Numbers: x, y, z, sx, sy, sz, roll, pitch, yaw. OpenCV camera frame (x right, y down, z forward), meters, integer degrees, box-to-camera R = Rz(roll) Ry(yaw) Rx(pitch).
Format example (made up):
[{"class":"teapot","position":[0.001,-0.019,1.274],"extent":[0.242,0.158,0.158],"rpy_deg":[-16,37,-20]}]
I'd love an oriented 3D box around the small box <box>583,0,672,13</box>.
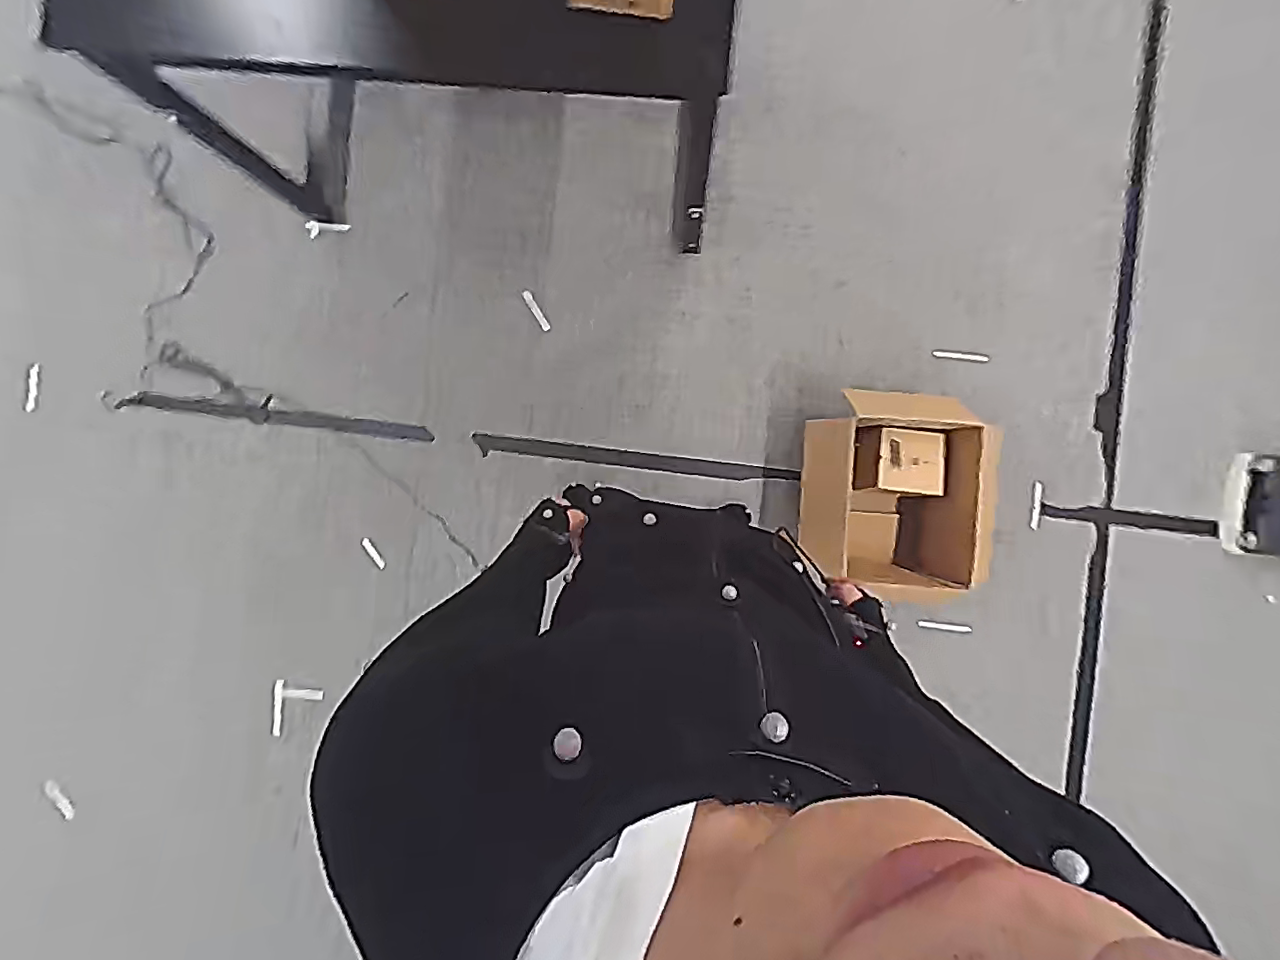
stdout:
[{"class":"small box","position":[-0.018,-0.858,0.802],"extent":[0.168,0.176,0.179],"rpy_deg":[11,91,3]}]
